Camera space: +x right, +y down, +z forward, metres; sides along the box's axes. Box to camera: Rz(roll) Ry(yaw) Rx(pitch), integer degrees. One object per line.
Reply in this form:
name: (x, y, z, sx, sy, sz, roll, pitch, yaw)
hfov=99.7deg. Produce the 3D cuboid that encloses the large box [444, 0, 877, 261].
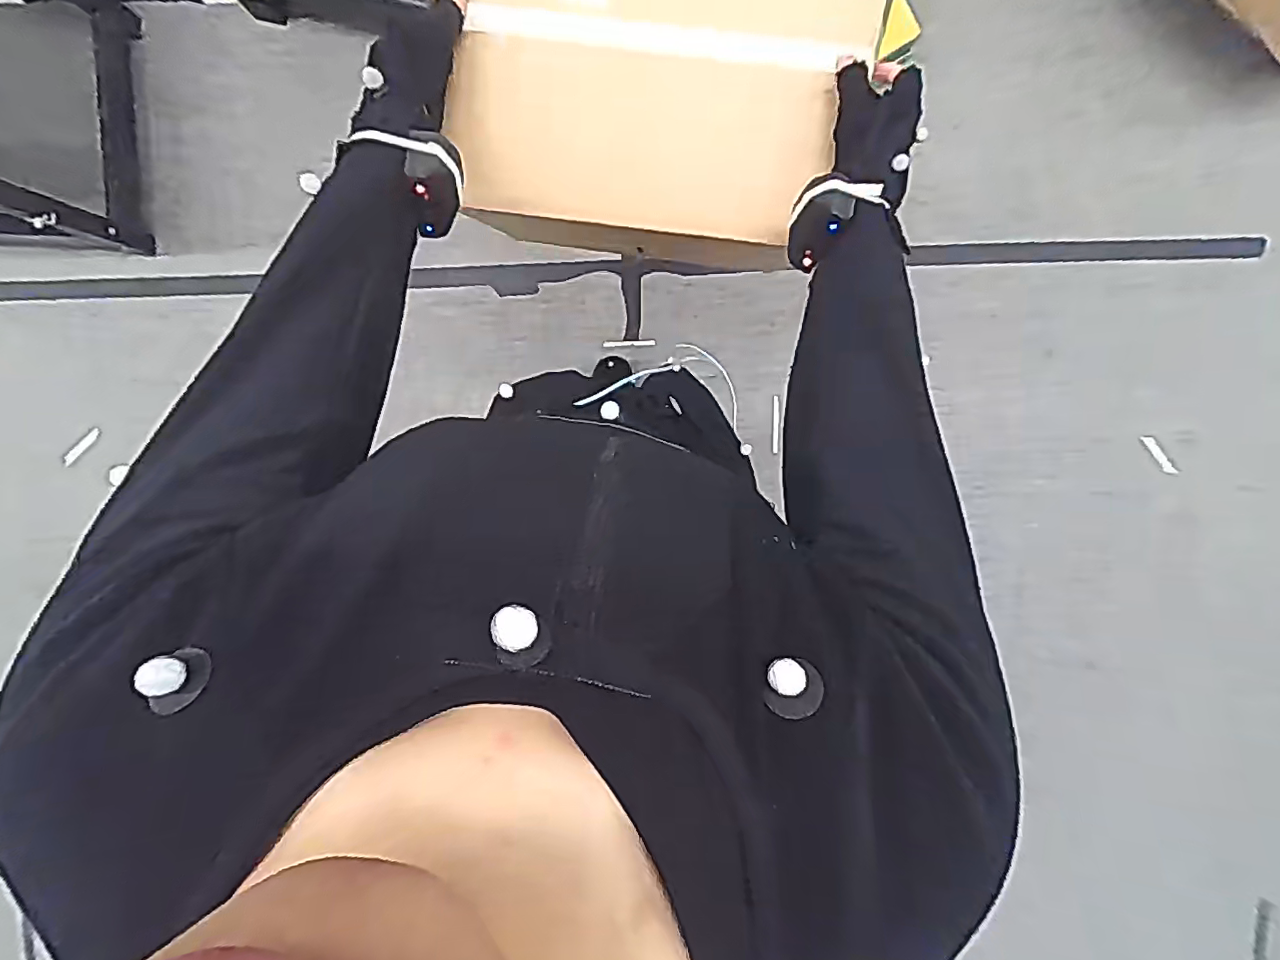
large box: (0.021, -0.453, 0.647, 0.408, 0.320, 0.320, 7, 107, 0)
